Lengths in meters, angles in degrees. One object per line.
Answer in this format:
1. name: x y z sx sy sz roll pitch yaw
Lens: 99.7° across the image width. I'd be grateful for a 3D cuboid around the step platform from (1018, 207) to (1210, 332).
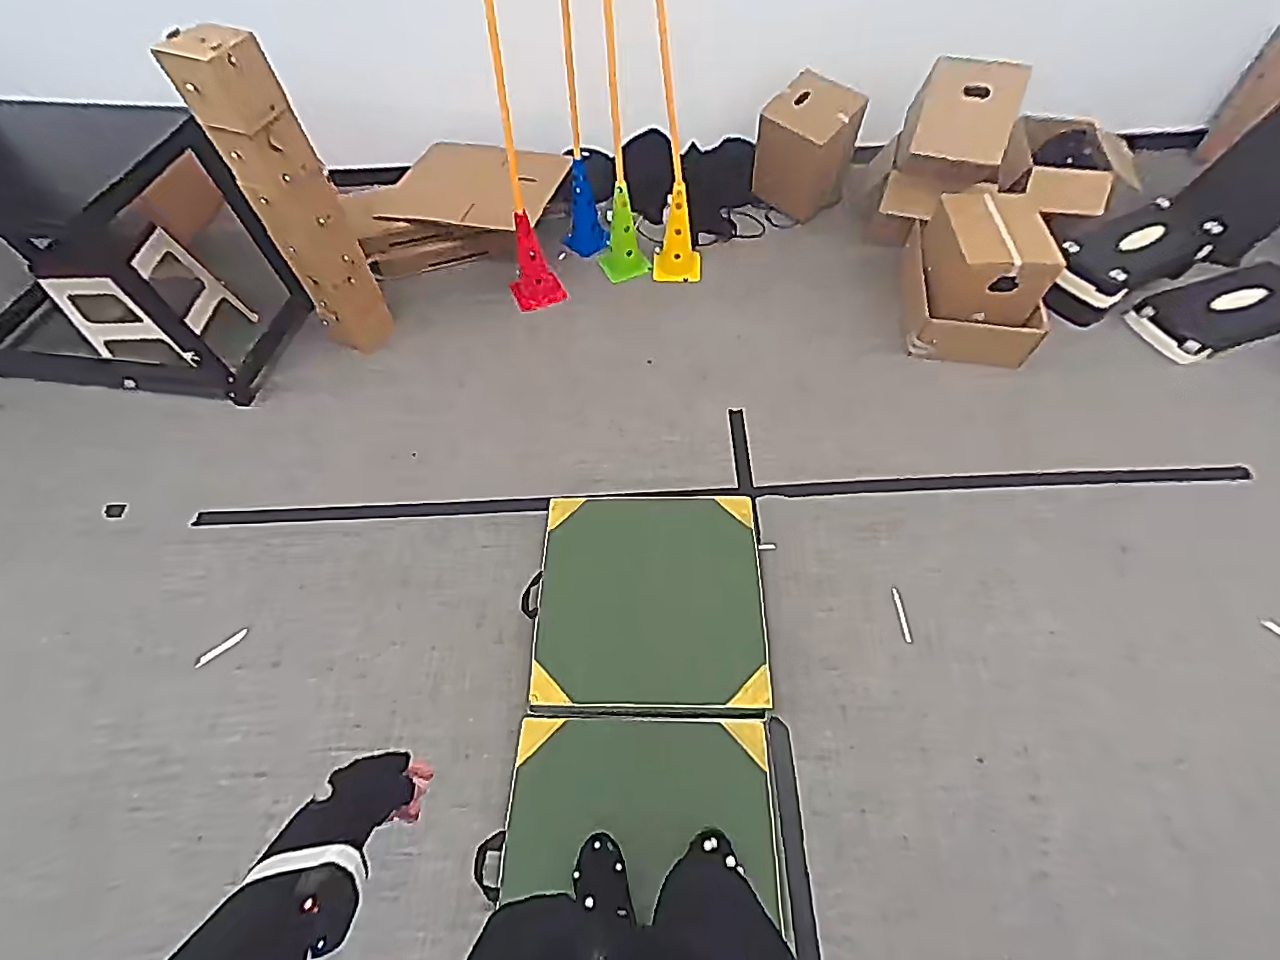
1. step platform: 1.881 -0.847 2.149 0.684 0.204 0.286 -27 61 -14
